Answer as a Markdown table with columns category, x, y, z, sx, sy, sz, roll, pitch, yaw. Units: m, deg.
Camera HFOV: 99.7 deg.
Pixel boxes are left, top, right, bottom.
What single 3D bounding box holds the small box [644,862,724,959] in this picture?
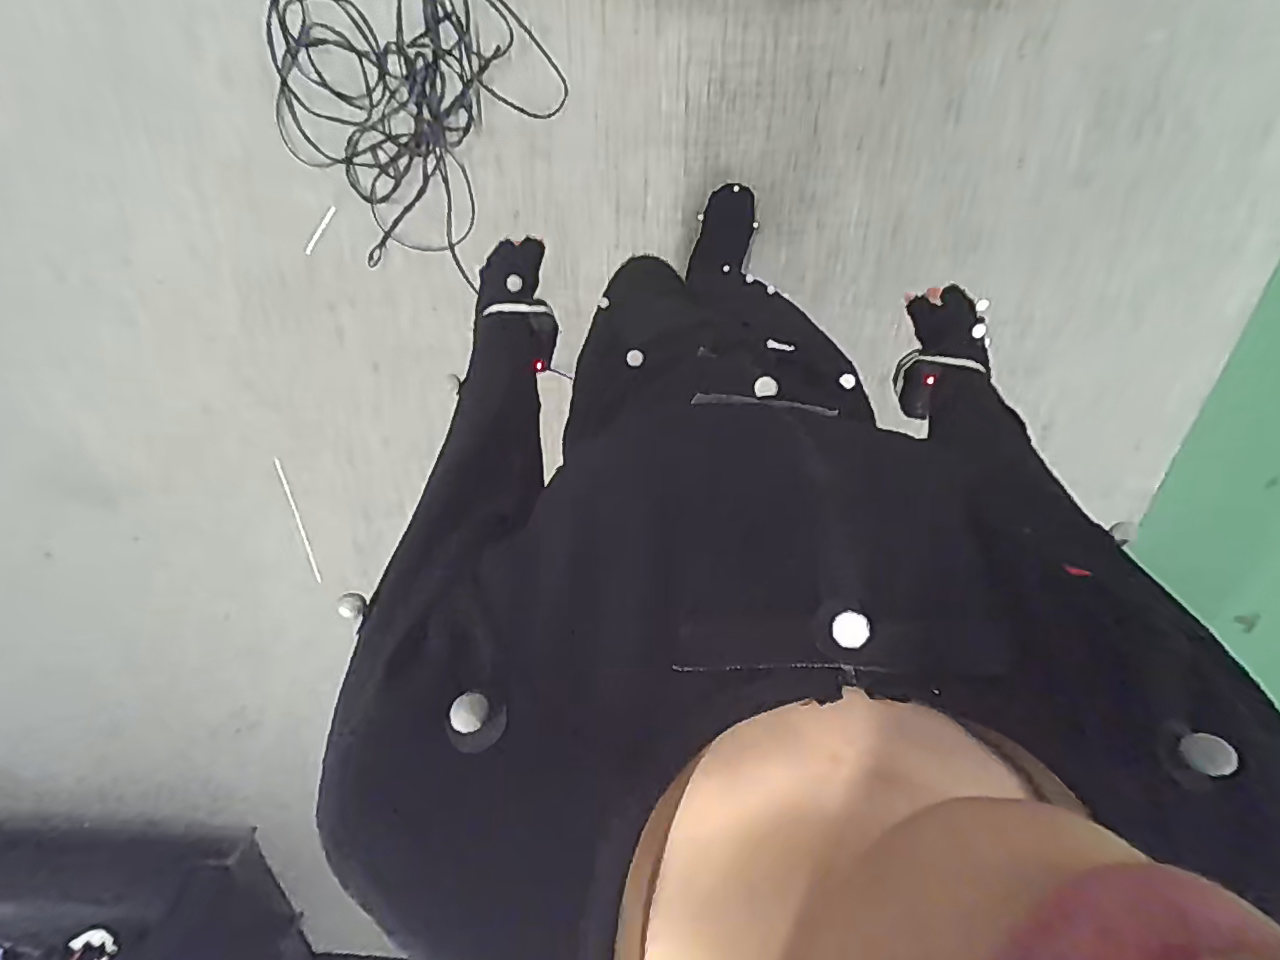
| category | x | y | z | sx | sy | sz | roll | pitch | yaw |
| --- | --- | --- | --- | --- | --- | --- | --- | --- | --- |
| small box | 0.099 | 1.000 | 1.215 | 0.168 | 0.176 | 0.179 | 0 | 119 | 5 |
